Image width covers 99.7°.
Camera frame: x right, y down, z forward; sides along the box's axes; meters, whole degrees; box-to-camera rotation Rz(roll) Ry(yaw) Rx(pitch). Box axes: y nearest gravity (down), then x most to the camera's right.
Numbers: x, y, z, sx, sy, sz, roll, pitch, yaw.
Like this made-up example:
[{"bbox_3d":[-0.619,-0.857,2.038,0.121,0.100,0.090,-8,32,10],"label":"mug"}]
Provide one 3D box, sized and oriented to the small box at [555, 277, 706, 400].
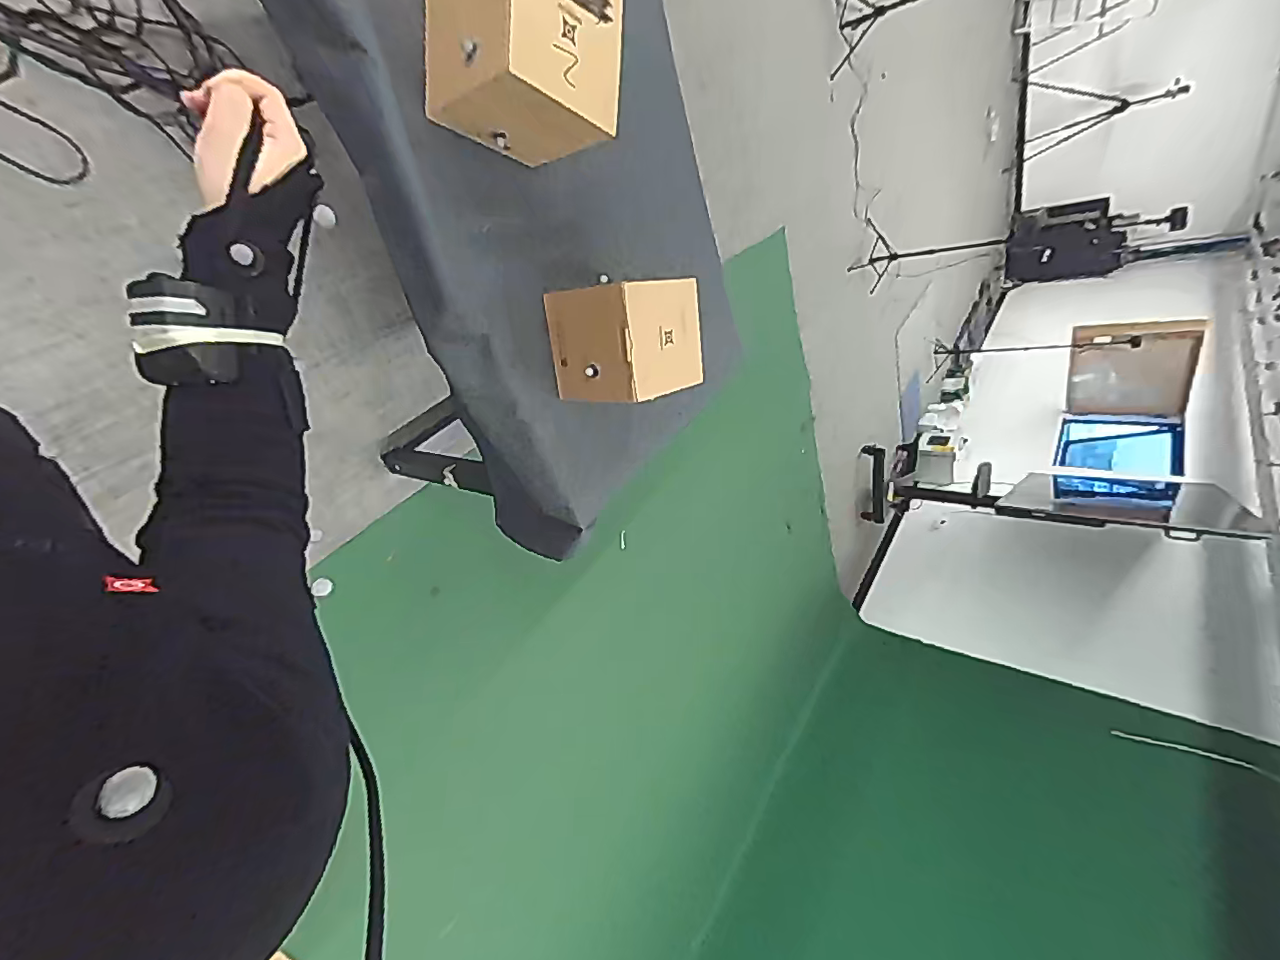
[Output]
[{"bbox_3d":[-0.018,-0.222,0.851,0.179,0.176,0.168,-27,117,-46],"label":"small box"}]
